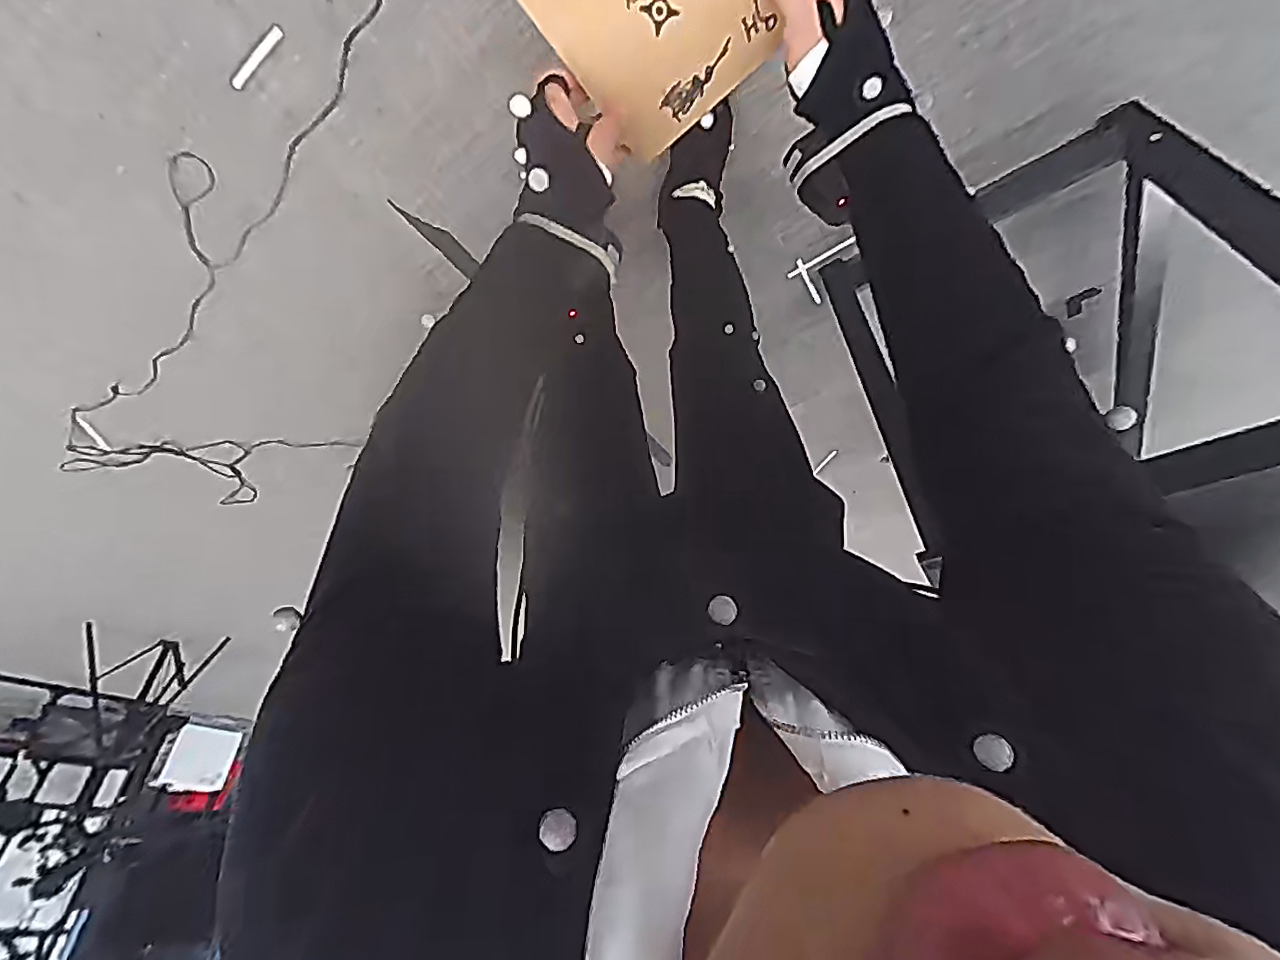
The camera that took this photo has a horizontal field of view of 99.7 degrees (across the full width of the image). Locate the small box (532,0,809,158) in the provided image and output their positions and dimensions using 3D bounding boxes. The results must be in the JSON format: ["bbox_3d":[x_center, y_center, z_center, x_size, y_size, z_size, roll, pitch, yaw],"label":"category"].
[{"bbox_3d":[0.022,-0.430,0.464,0.168,0.176,0.179,-26,129,32],"label":"small box"}]
